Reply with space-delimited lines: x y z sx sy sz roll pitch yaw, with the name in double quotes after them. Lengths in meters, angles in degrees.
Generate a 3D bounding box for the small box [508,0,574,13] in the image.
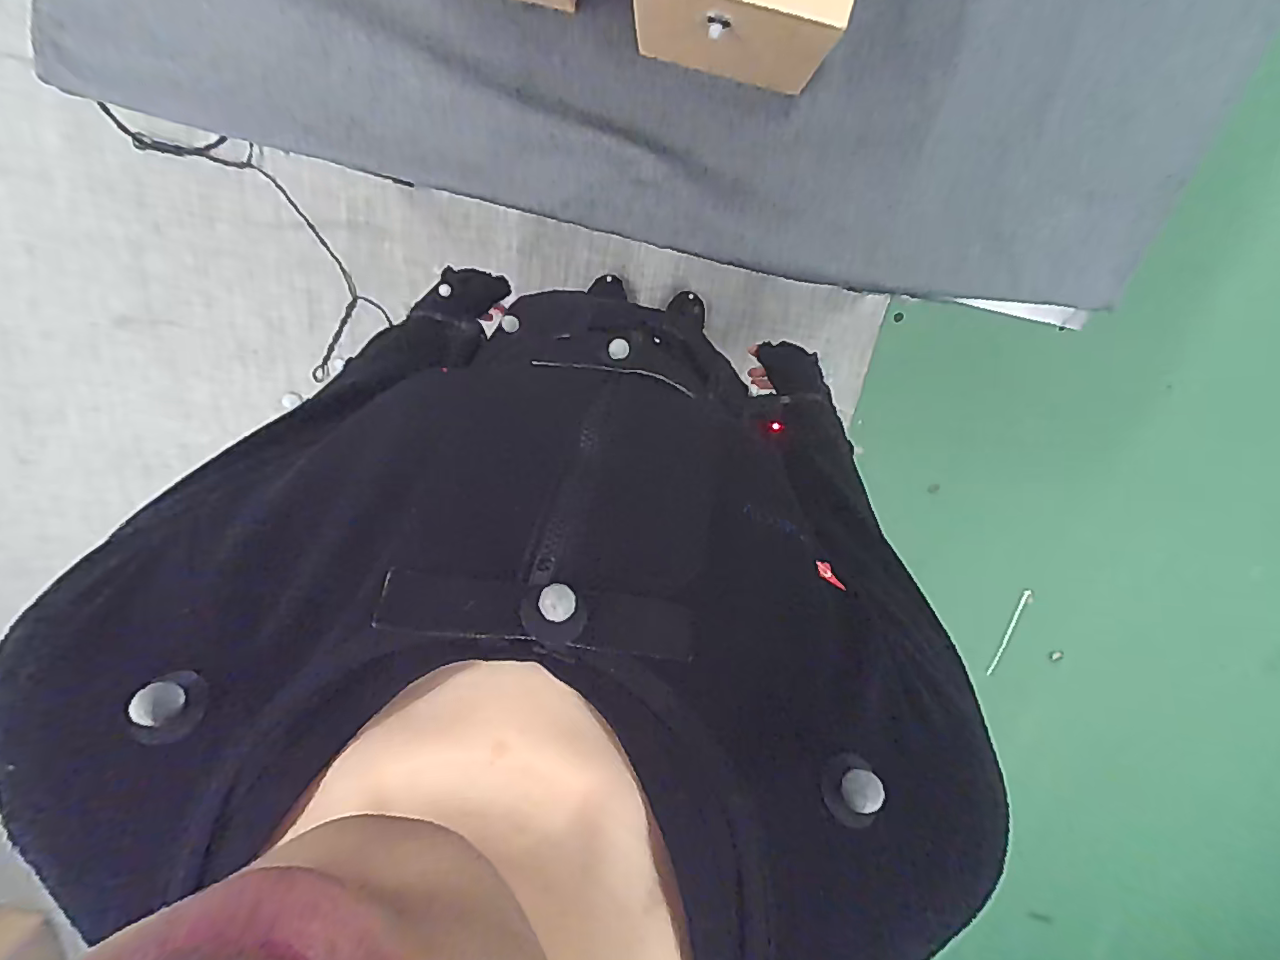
-0.133 -0.550 0.453 0.168 0.176 0.179 12 111 -1 "small box"
